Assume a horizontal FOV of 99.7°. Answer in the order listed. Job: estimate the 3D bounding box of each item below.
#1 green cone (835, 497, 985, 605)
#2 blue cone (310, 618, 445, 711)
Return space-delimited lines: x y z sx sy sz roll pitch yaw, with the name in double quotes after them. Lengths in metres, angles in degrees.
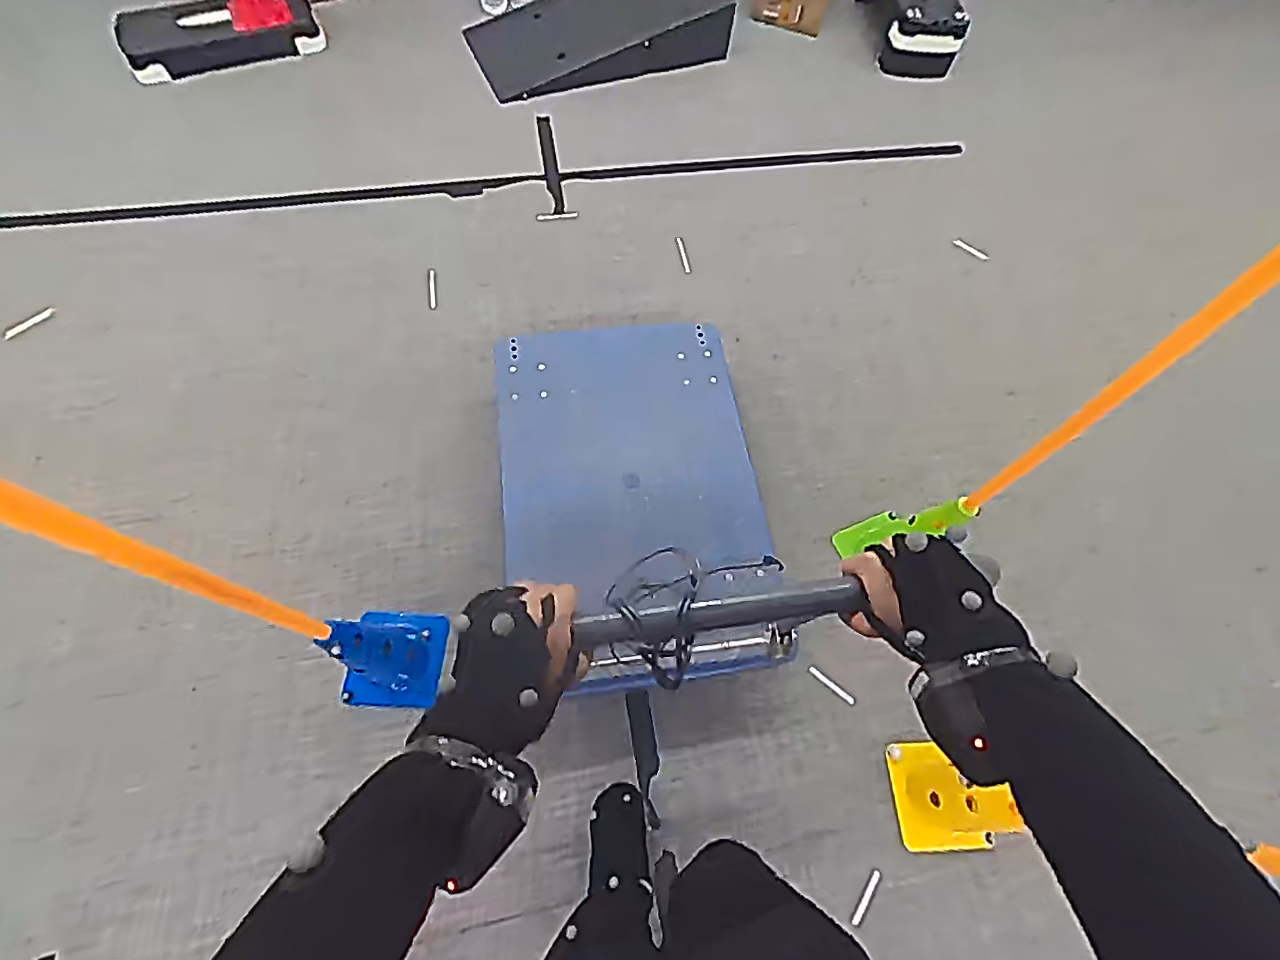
0.627 0.121 1.202 0.200 0.368 0.202 -21 69 -13 "green cone"
-0.523 0.334 1.036 0.193 0.380 0.192 5 65 -2 "blue cone"
